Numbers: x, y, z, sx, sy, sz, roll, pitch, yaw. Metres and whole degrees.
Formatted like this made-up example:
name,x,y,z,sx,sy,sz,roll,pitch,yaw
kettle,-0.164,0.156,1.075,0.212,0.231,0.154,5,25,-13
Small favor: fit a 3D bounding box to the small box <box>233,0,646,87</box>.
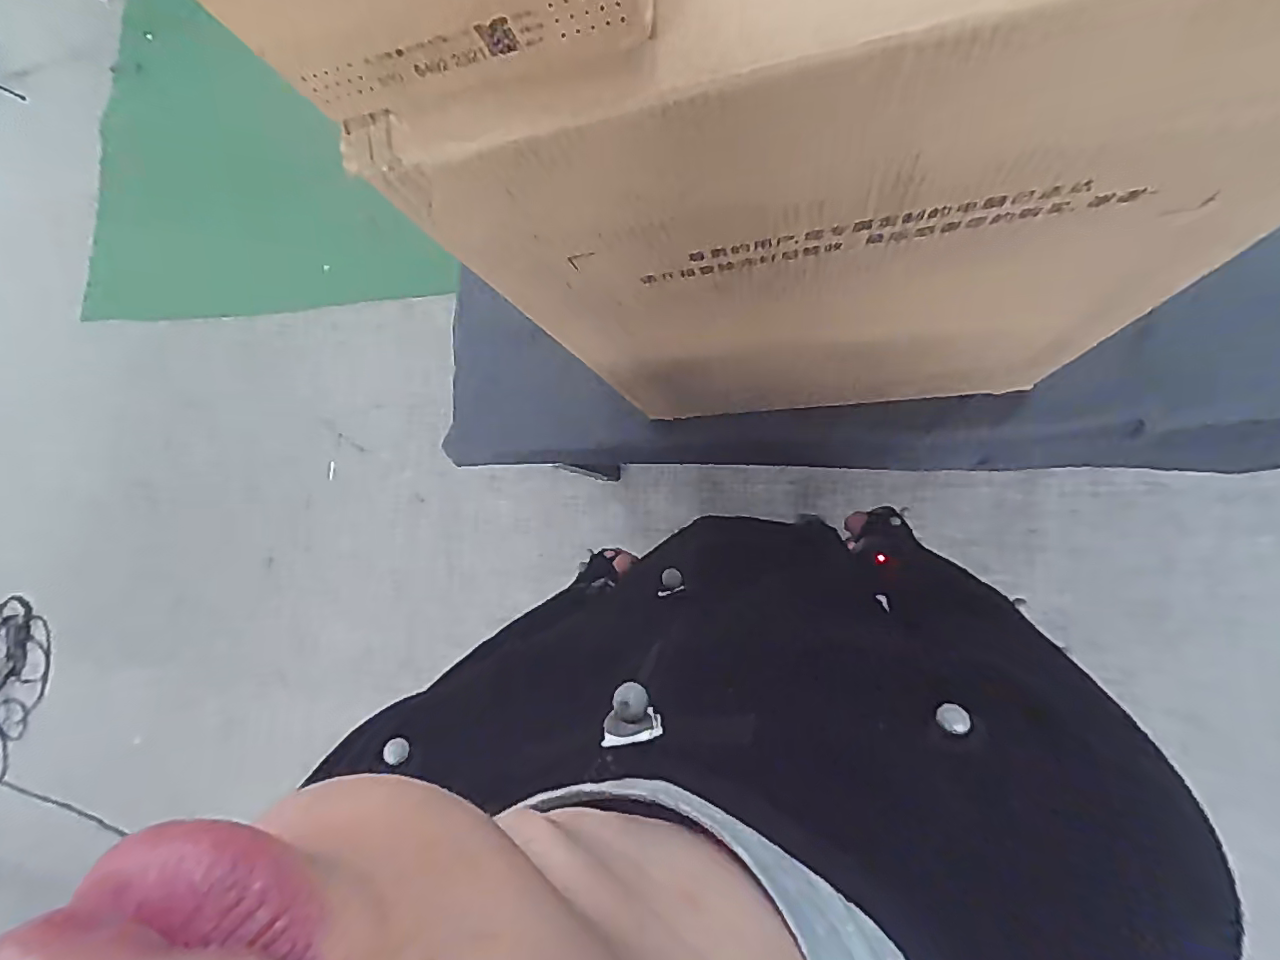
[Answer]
name,x,y,z,sx,sy,sz,roll,pitch,yaw
small box,-0.093,-0.273,0.178,0.168,0.176,0.179,-2,85,15
